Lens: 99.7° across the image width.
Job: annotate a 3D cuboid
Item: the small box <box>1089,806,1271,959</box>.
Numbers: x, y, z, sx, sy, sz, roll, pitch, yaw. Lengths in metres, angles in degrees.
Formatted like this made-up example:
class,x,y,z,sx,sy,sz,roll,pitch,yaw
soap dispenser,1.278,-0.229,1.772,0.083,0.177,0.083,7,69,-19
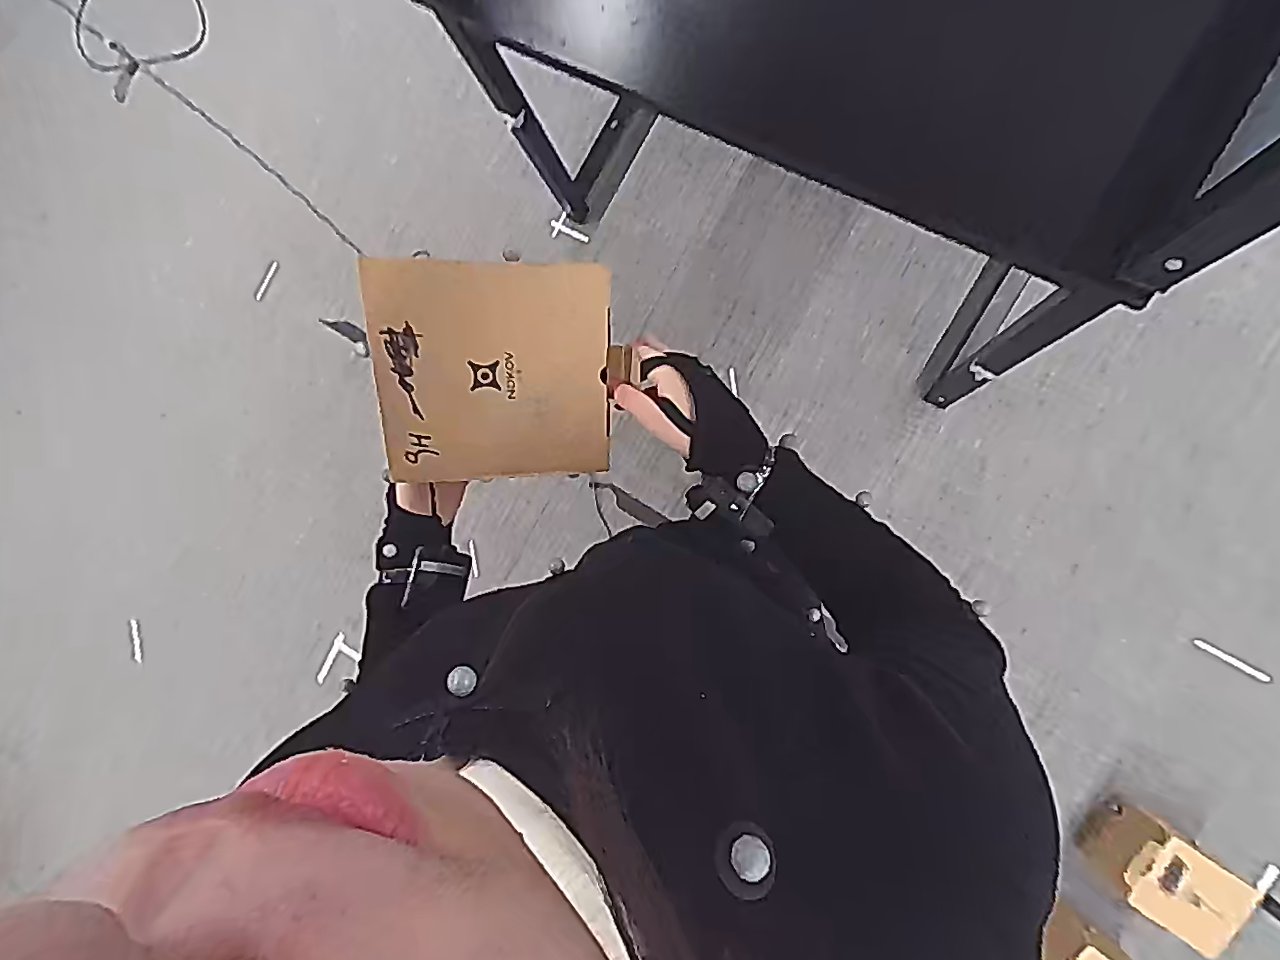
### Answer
class,x,y,z,sx,sy,sz,roll,pitch,yaw
small box,1.108,0.826,1.131,0.179,0.176,0.168,33,94,12

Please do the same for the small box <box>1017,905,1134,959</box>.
class,x,y,z,sx,sy,sz,roll,pitch,yaw
small box,0.959,1.065,1.152,0.179,0.176,0.168,36,95,12
